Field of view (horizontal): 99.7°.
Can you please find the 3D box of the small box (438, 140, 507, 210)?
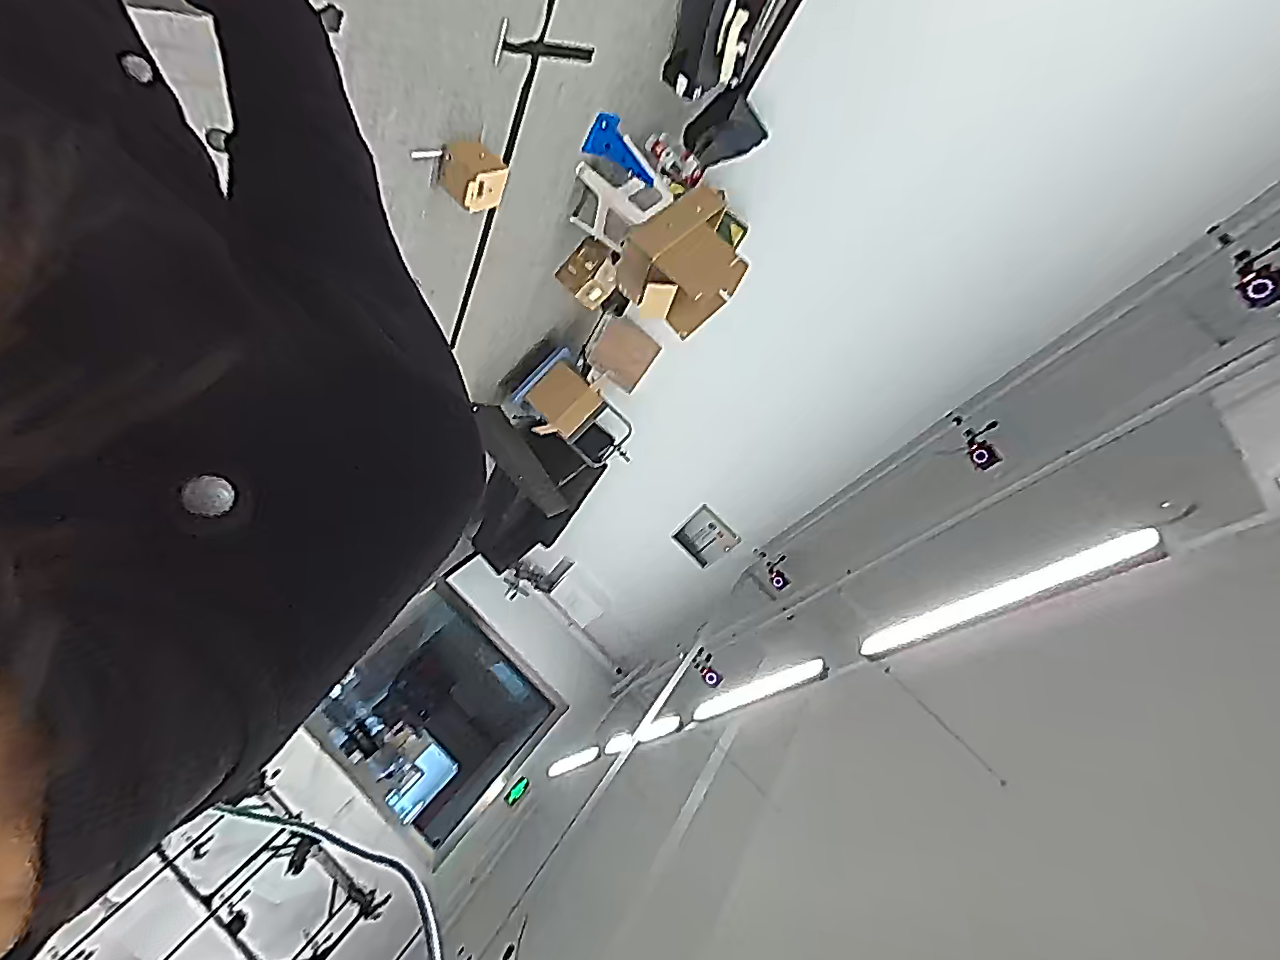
[{"bbox_3d":[-0.653,-1.183,2.091,0.179,0.176,0.168,-43,176,-42],"label":"small box"}]
